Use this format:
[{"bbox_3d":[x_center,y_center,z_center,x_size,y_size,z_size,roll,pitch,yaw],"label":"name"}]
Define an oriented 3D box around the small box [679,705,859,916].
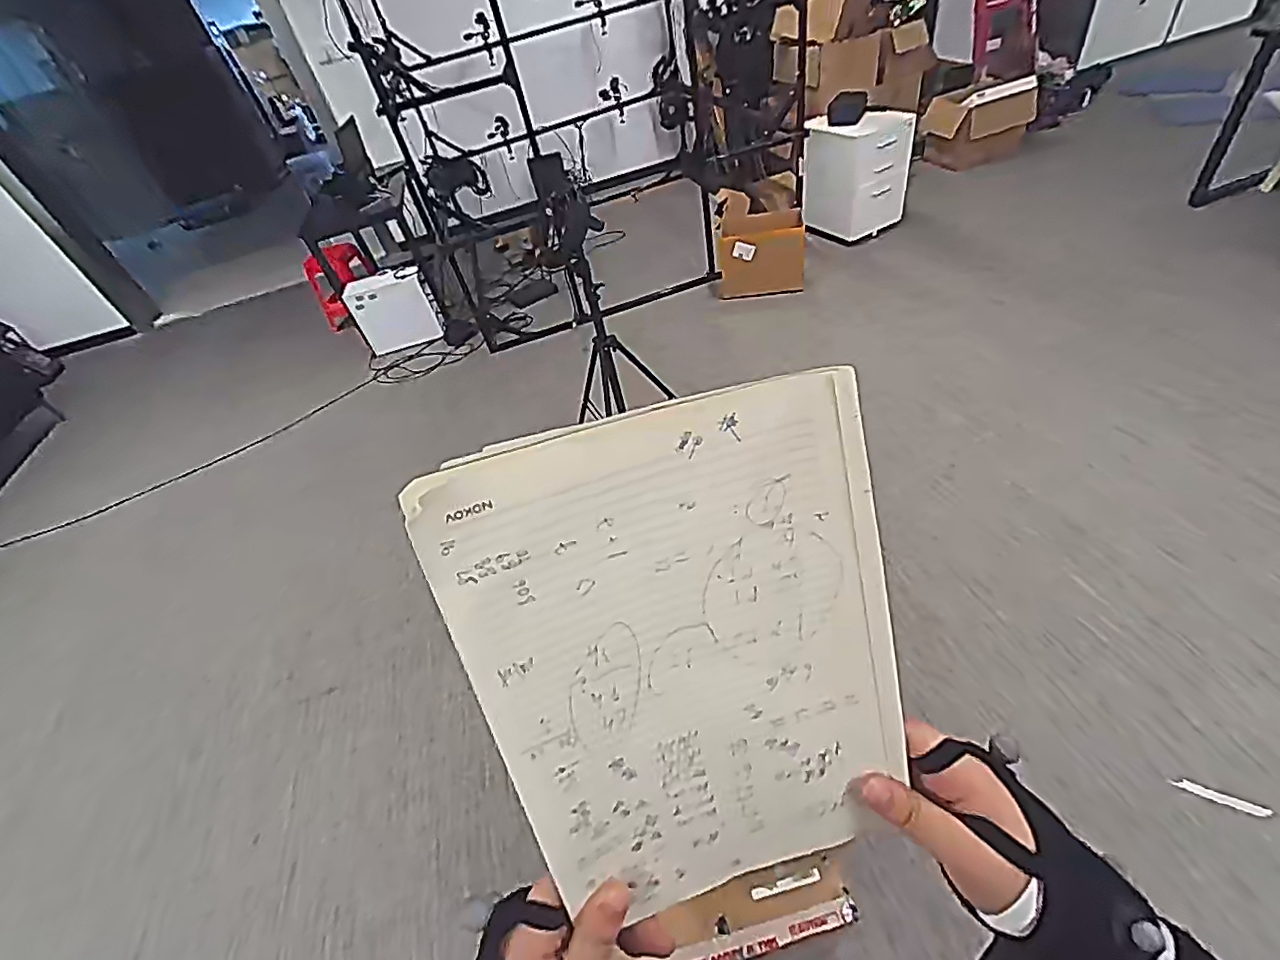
[{"bbox_3d":[0.151,0.421,0.689,0.168,0.176,0.179,-13,45,-2],"label":"small box"}]
